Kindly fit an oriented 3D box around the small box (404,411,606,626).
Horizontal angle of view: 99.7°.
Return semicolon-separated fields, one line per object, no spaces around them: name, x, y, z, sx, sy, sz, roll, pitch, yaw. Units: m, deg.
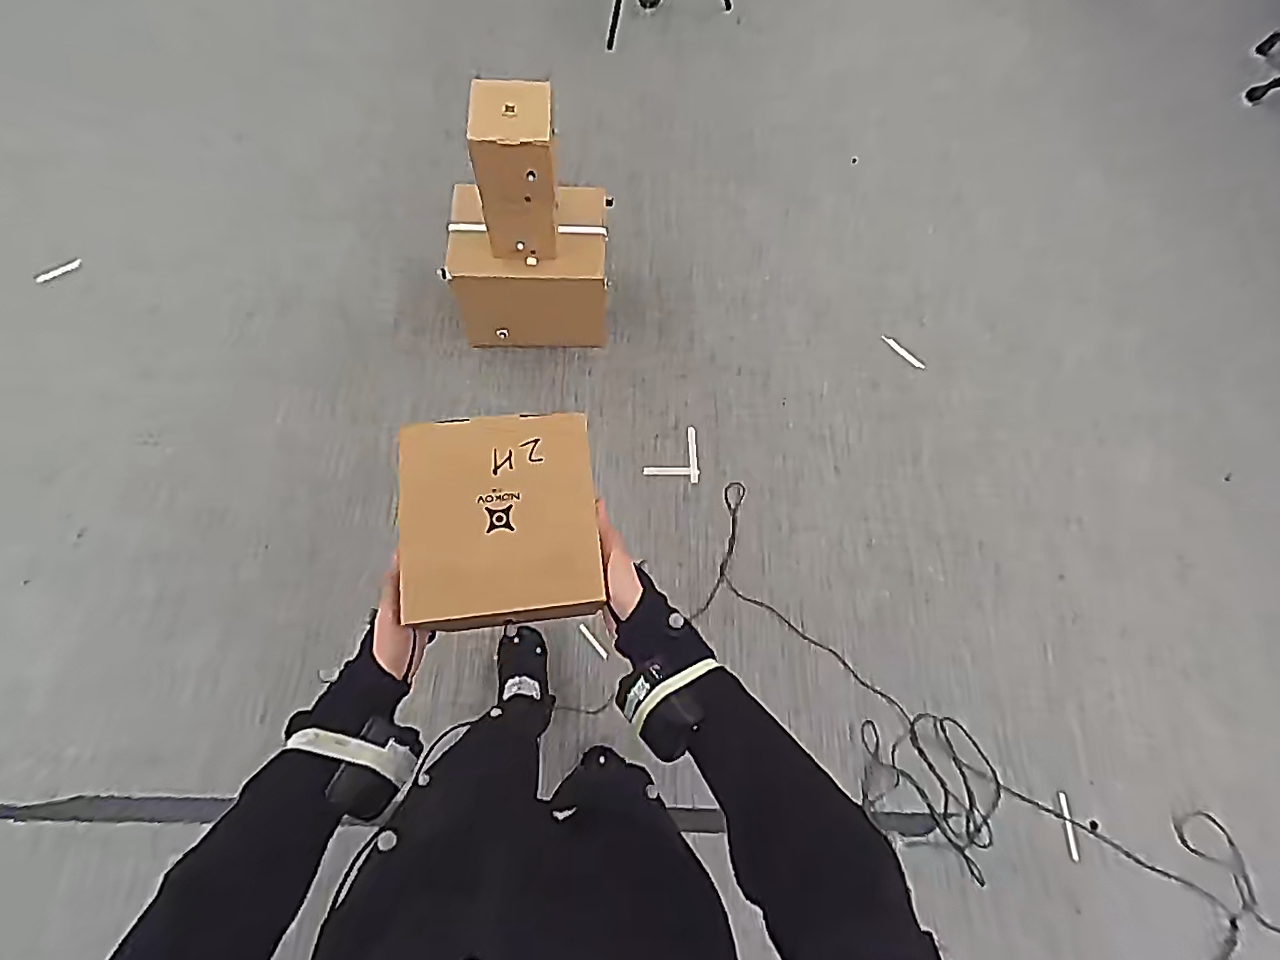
small box;-0.126;0.048;0.540;0.168;0.176;0.179;-5;73;-9

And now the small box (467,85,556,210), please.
small box;-0.272;-0.717;1.180;0.168;0.176;0.179;-1;70;-6

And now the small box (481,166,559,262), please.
small box;-0.290;-0.668;1.334;0.168;0.176;0.179;-1;71;-4
